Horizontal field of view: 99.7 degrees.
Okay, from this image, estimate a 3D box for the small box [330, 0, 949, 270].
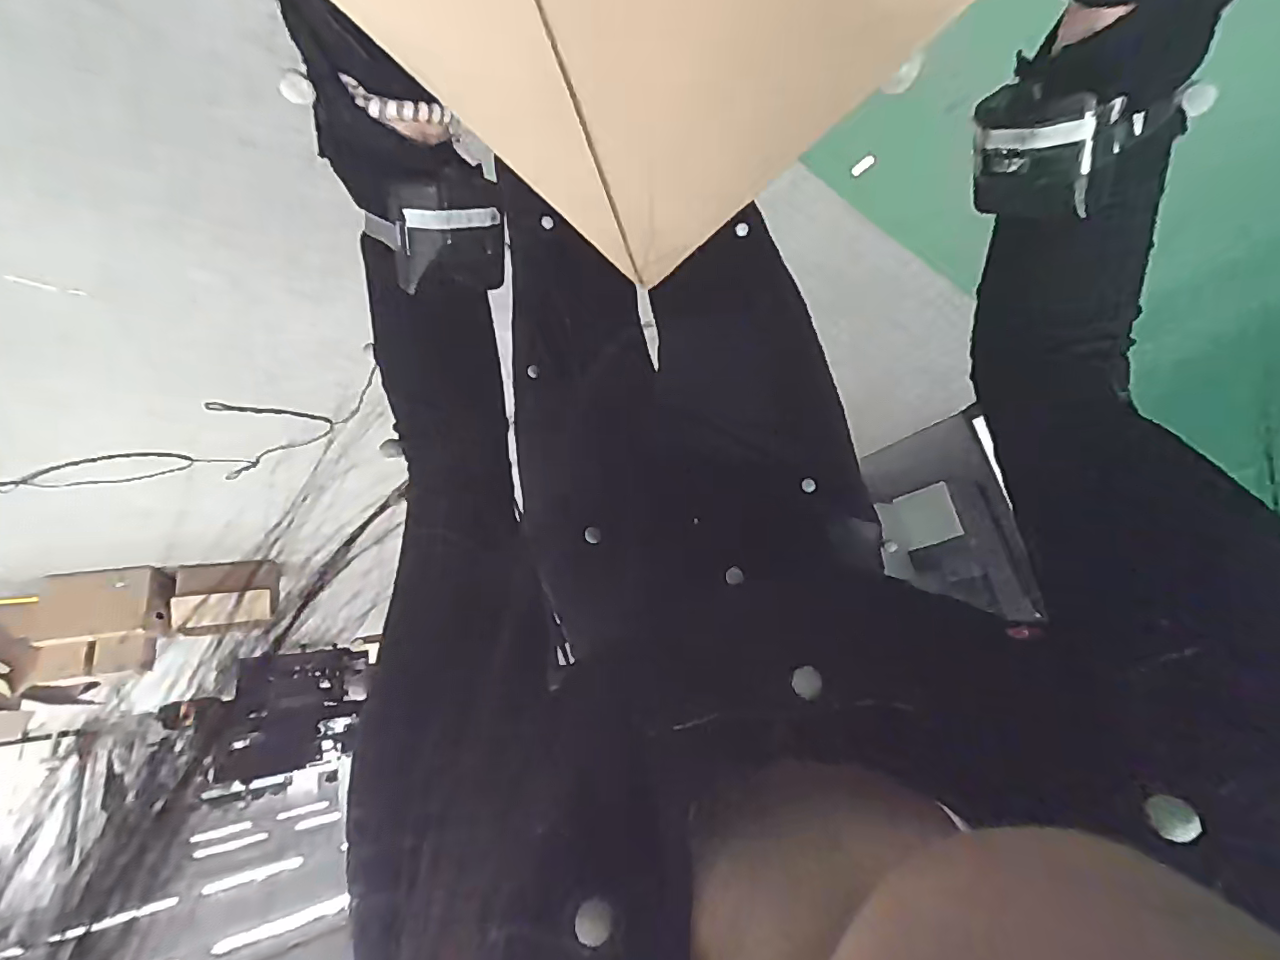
[{"bbox_3d":[0.007,-0.204,0.150,0.179,0.176,0.168,37,147,-22],"label":"small box"}]
